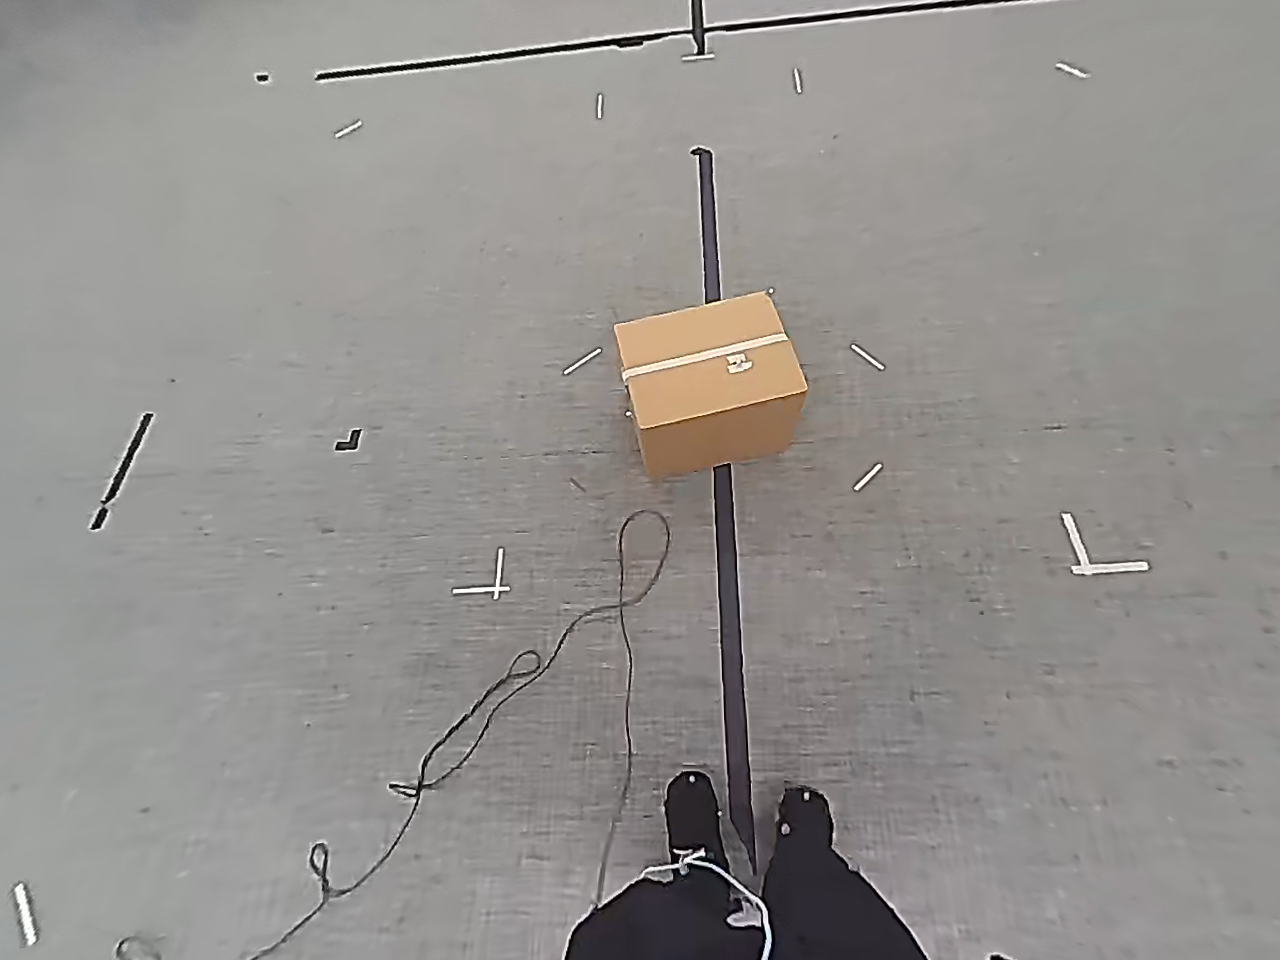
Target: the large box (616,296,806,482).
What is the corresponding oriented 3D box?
[{"bbox_3d":[0.173,-0.228,1.443,0.408,0.320,0.320,-13,67,-1],"label":"large box"}]
